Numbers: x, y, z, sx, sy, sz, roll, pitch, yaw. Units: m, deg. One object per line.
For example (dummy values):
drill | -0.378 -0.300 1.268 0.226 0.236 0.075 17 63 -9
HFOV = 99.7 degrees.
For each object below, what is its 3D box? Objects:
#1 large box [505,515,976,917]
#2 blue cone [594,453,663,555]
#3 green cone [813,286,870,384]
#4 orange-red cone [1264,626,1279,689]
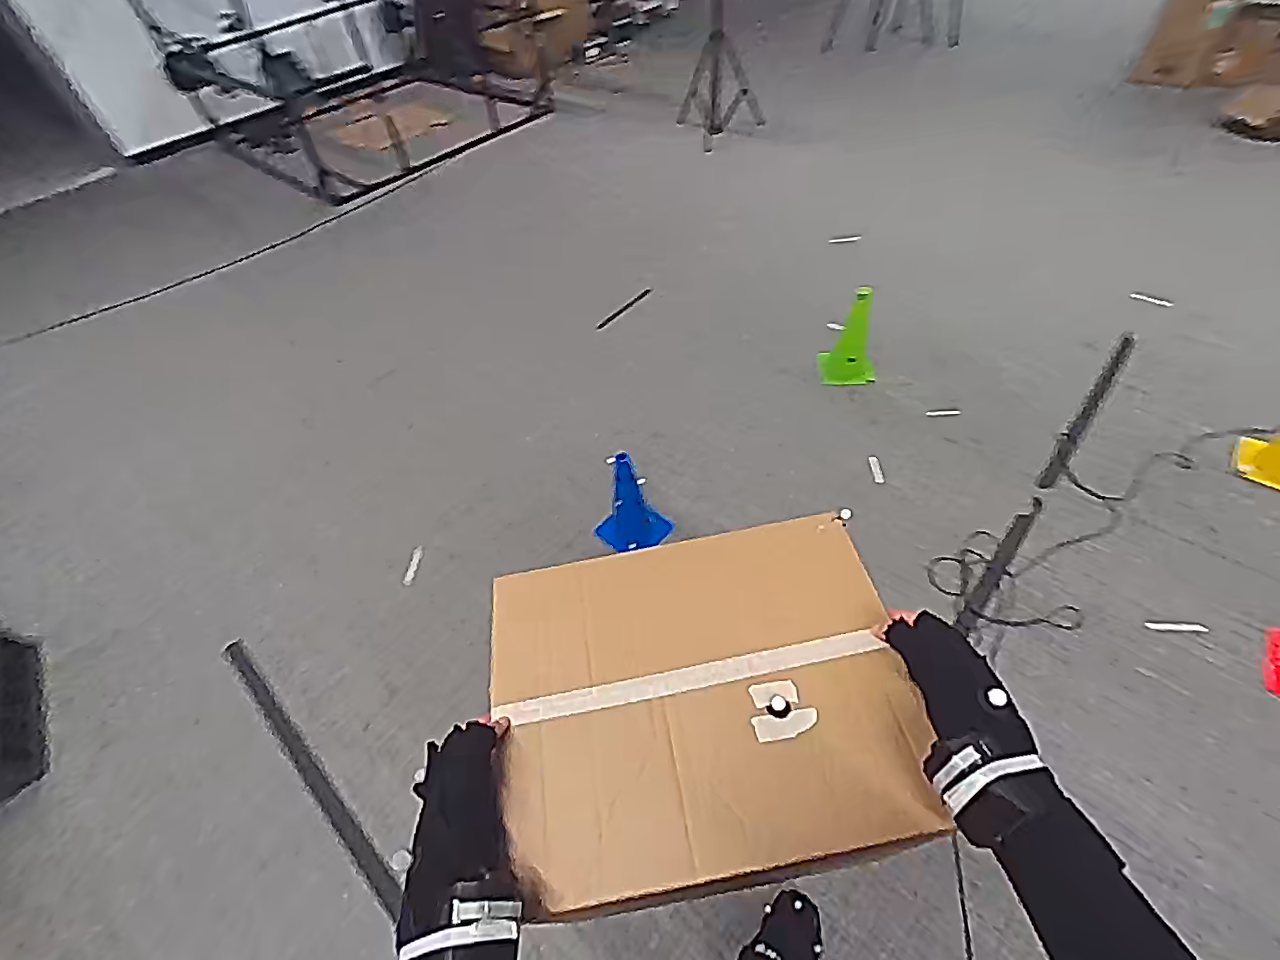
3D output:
large box | 0.076 0.287 0.647 0.408 0.320 0.320 -10 51 -1
blue cone | -0.053 0.060 1.667 0.192 0.380 0.193 34 62 31
green cone | 0.797 -0.571 2.067 0.202 0.368 0.200 -1 50 8
orange-red cone | 1.644 0.366 1.190 0.198 0.360 0.199 30 58 26
